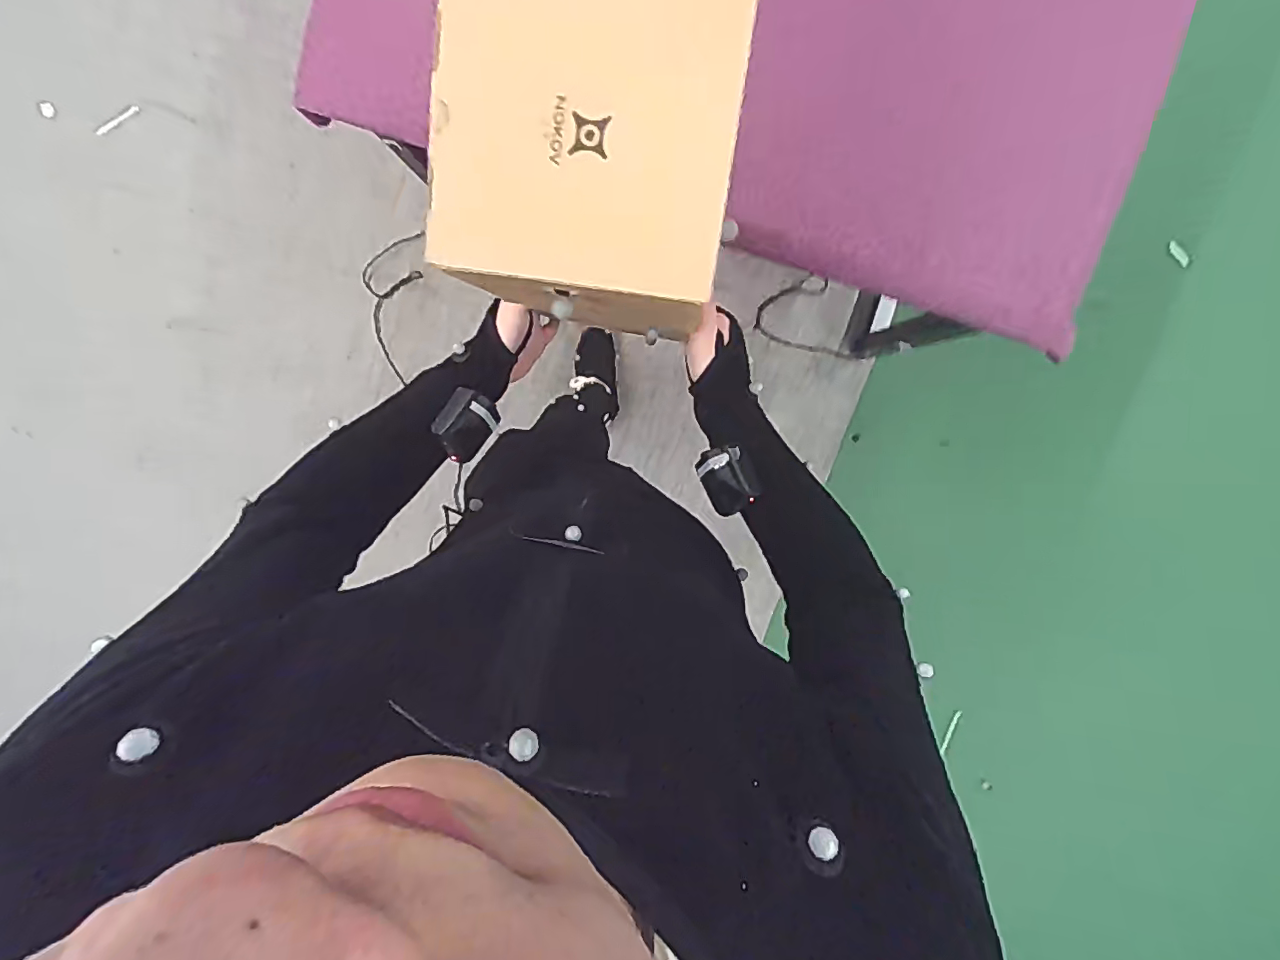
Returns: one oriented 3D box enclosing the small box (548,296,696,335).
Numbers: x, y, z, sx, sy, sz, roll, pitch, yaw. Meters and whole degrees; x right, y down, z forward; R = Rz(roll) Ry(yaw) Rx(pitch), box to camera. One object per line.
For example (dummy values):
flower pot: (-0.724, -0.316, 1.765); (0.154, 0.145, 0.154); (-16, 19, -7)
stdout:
small box: (-0.007, -0.287, 0.703); (0.179, 0.176, 0.168); (10, 101, 1)

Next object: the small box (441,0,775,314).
small box: (-0.020, -0.217, 0.384); (0.179, 0.176, 0.168); (8, 102, 1)
